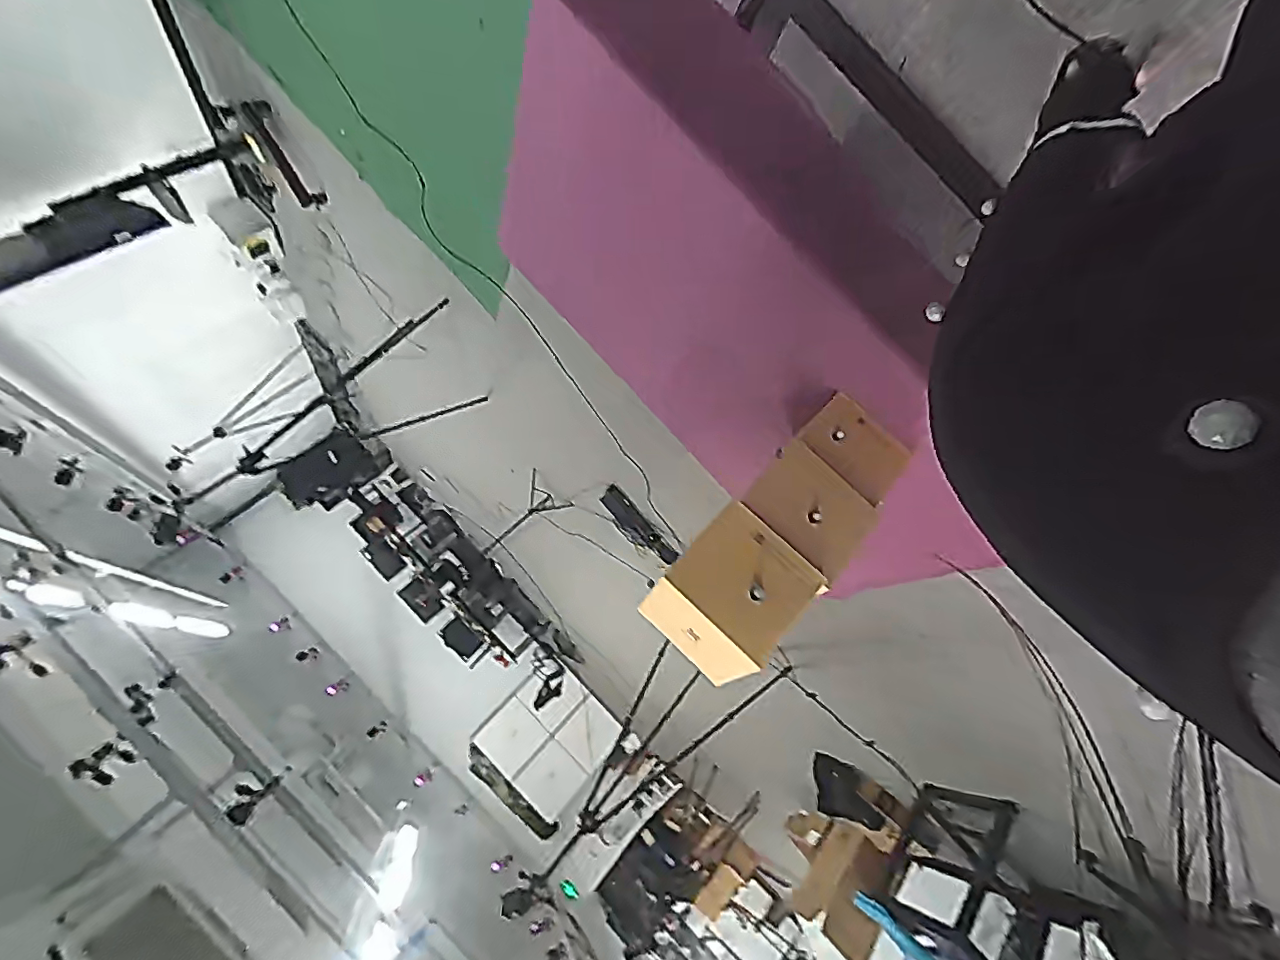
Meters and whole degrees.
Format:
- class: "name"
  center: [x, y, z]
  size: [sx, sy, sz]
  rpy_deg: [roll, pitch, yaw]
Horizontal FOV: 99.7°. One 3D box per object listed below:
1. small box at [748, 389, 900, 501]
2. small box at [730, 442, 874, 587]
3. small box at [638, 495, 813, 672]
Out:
- class: "small box"
  center: [0.332, -0.031, 0.970]
  size: [0.168, 0.176, 0.179]
  rpy_deg: [45, 154, 6]
- class: "small box"
  center: [0.234, 0.062, 0.875]
  size: [0.179, 0.176, 0.168]
  rpy_deg: [44, 153, 6]
- class: "small box"
  center: [0.125, 0.151, 0.793]
  size: [0.168, 0.176, 0.179]
  rpy_deg: [43, 154, 10]
